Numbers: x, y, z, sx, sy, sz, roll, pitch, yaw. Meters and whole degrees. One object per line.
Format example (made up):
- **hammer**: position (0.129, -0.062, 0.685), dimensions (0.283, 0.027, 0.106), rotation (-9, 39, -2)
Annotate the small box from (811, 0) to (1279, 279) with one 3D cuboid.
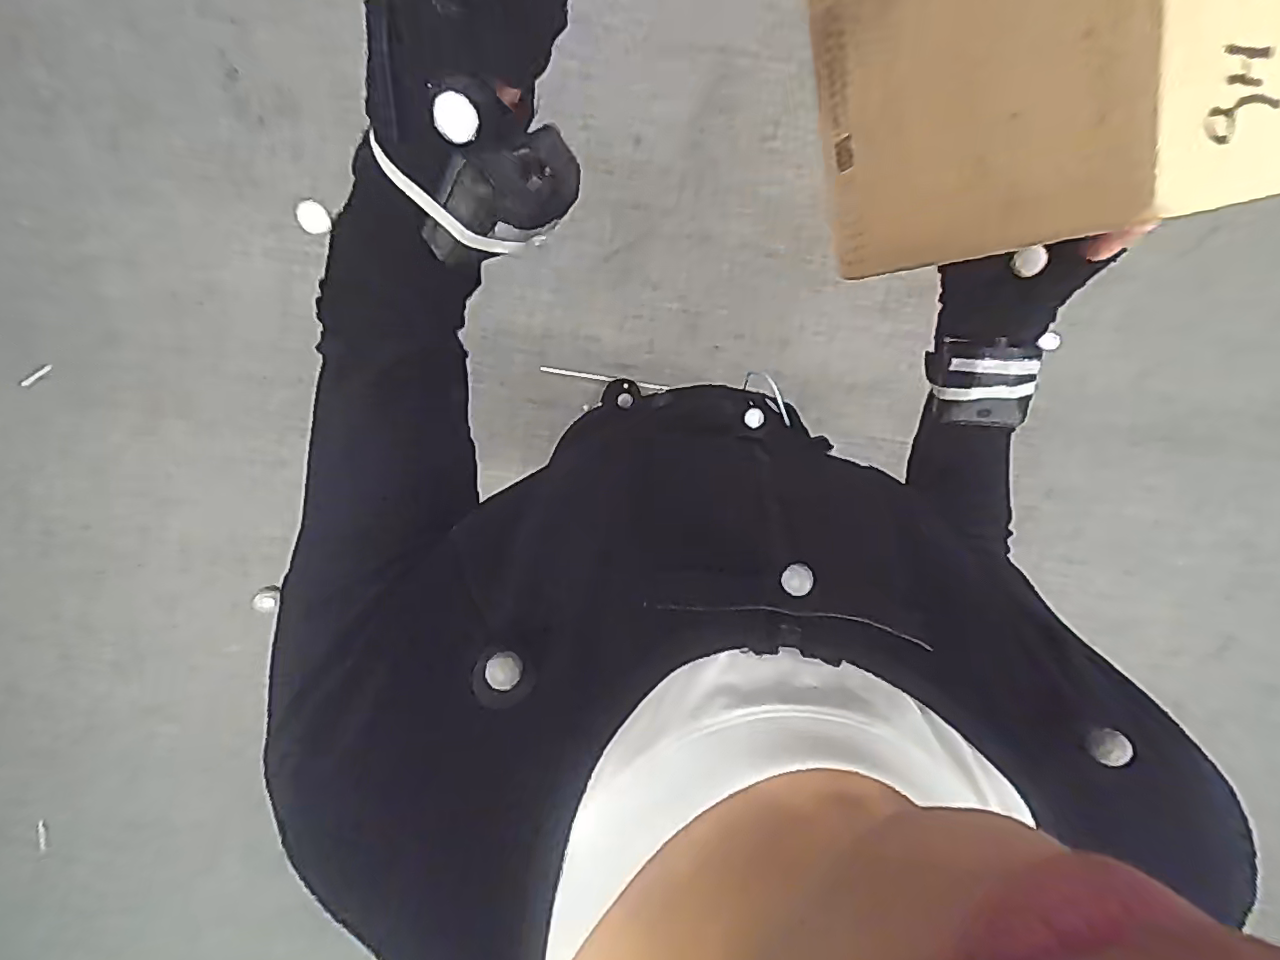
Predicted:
- **small box**: position (0.194, -0.189, 0.218), dimensions (0.179, 0.176, 0.168), rotation (-15, 106, -9)
